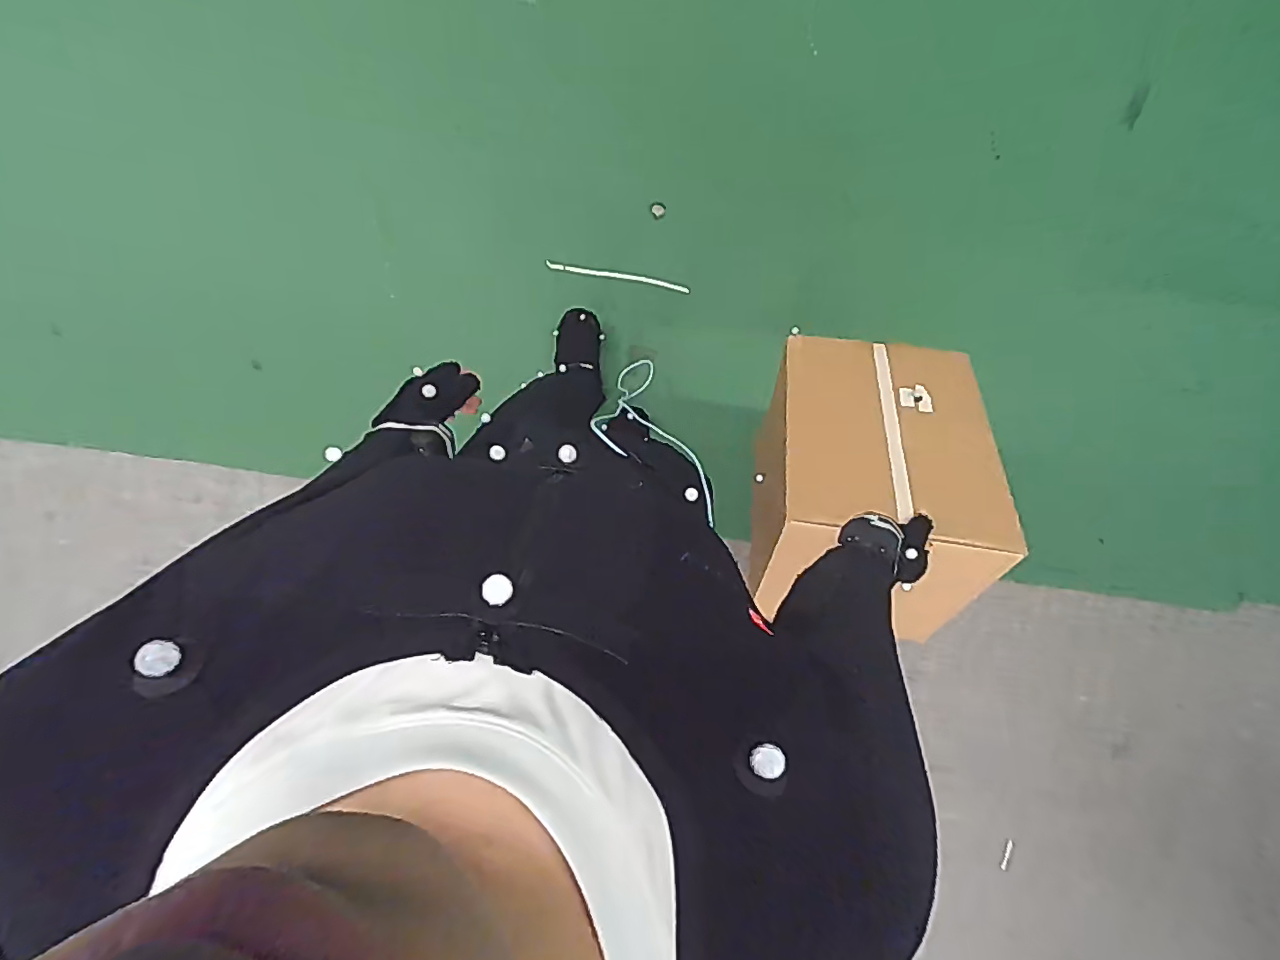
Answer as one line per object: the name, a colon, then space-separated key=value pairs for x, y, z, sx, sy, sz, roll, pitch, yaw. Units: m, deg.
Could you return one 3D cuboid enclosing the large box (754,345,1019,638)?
large box: x=0.385 y=0.019 z=0.966 sx=0.320 sy=0.408 sz=0.320 roll=9 pitch=142 yaw=5
